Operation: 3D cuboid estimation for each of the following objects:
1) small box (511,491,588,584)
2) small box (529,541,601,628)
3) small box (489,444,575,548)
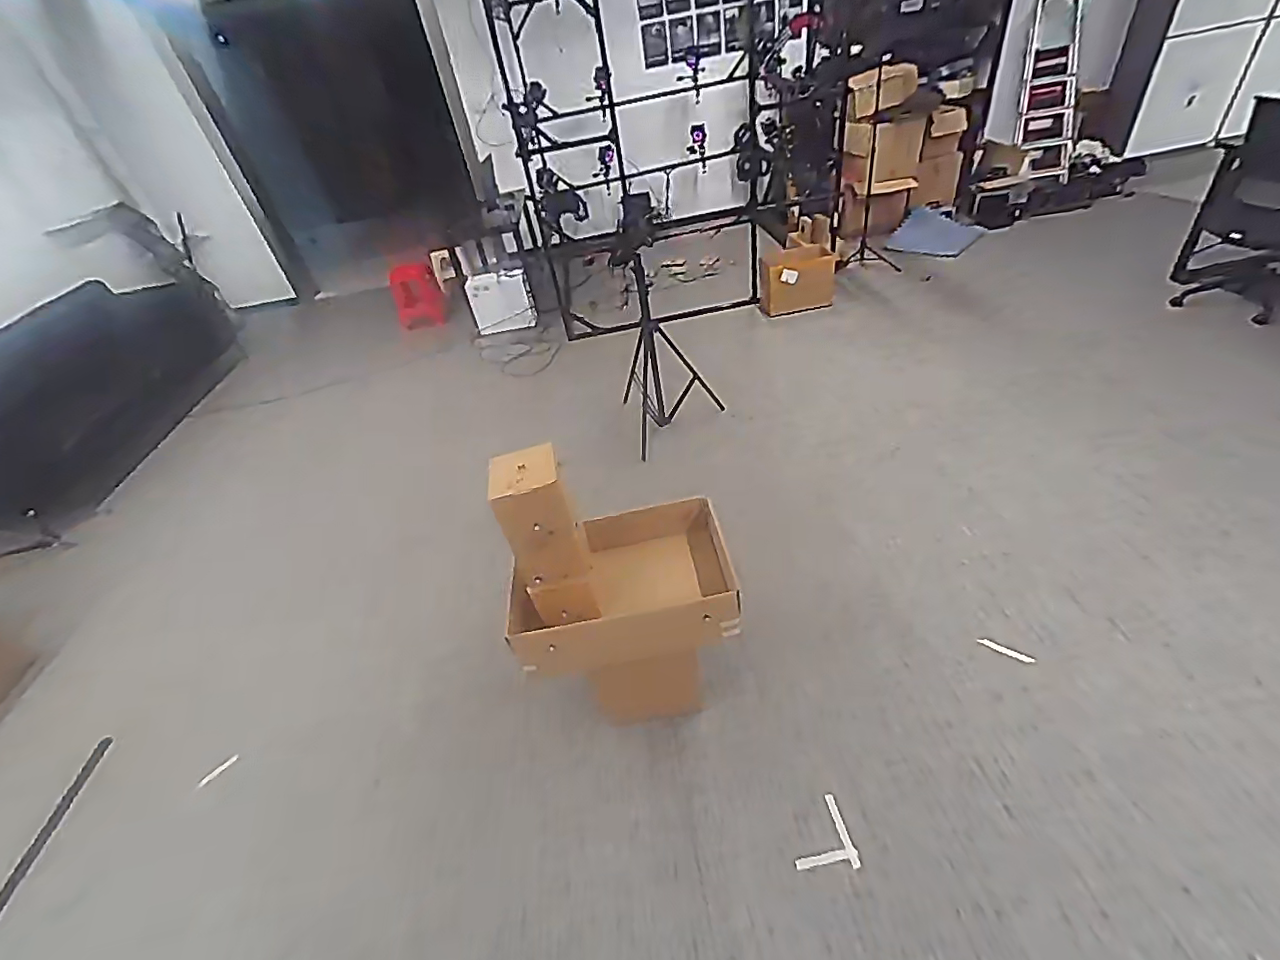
[{"bbox_3d":[-0.241,0.162,1.466,0.168,0.176,0.179,-13,38,1],"label":"small box"},{"bbox_3d":[-0.212,0.296,1.557,0.168,0.176,0.179,-13,39,1],"label":"small box"},{"bbox_3d":[-0.269,0.041,1.358,0.168,0.176,0.179,-16,39,-2],"label":"small box"}]
